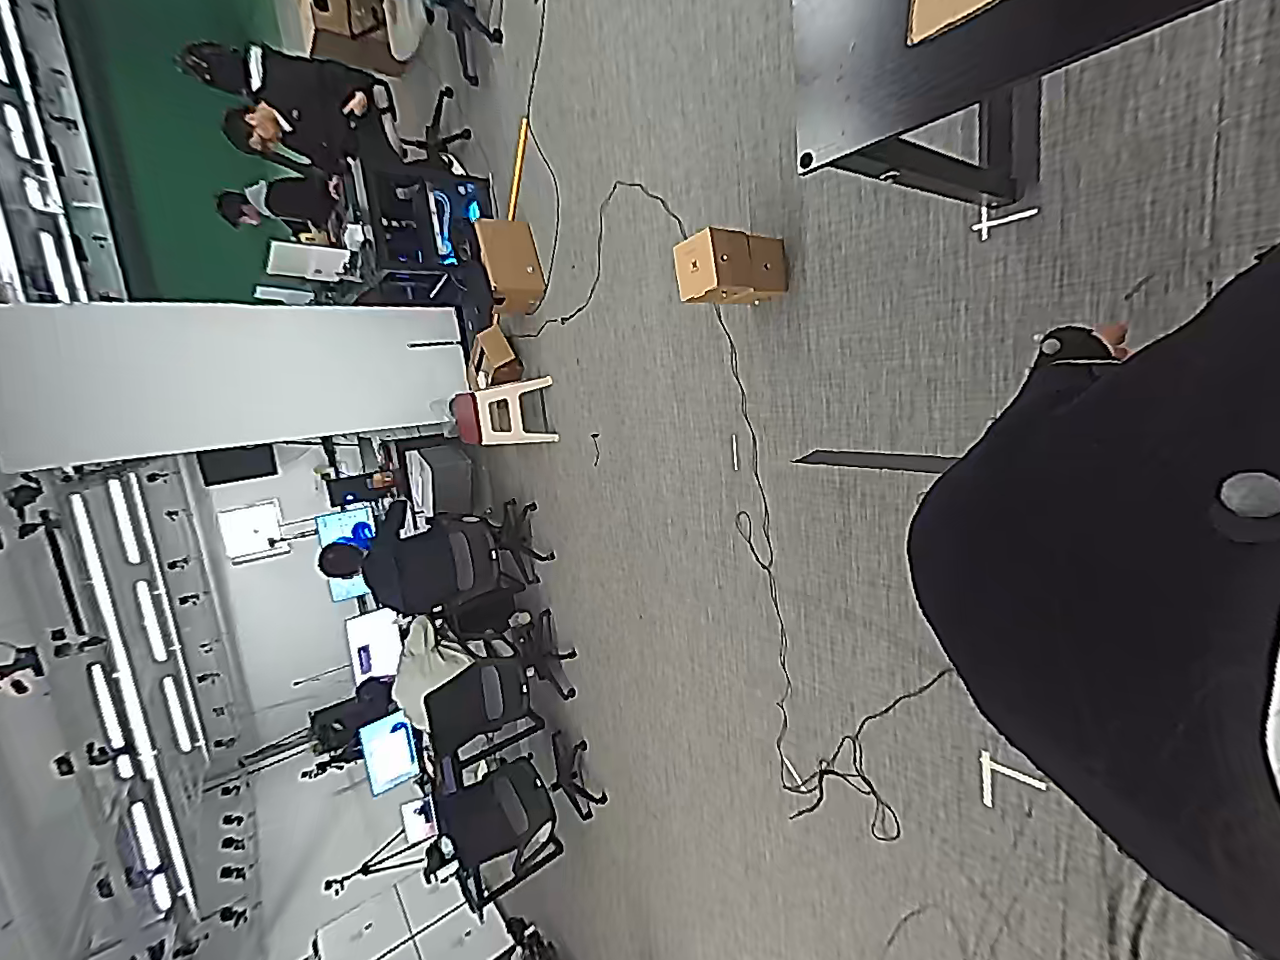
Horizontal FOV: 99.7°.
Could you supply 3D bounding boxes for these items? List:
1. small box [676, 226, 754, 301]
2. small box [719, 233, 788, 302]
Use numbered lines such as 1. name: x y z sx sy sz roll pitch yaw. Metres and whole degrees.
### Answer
1. small box: 0.237 -0.669 1.688 0.168 0.176 0.179 -3 98 53
2. small box: 0.367 -0.692 1.783 0.168 0.176 0.179 2 103 54
